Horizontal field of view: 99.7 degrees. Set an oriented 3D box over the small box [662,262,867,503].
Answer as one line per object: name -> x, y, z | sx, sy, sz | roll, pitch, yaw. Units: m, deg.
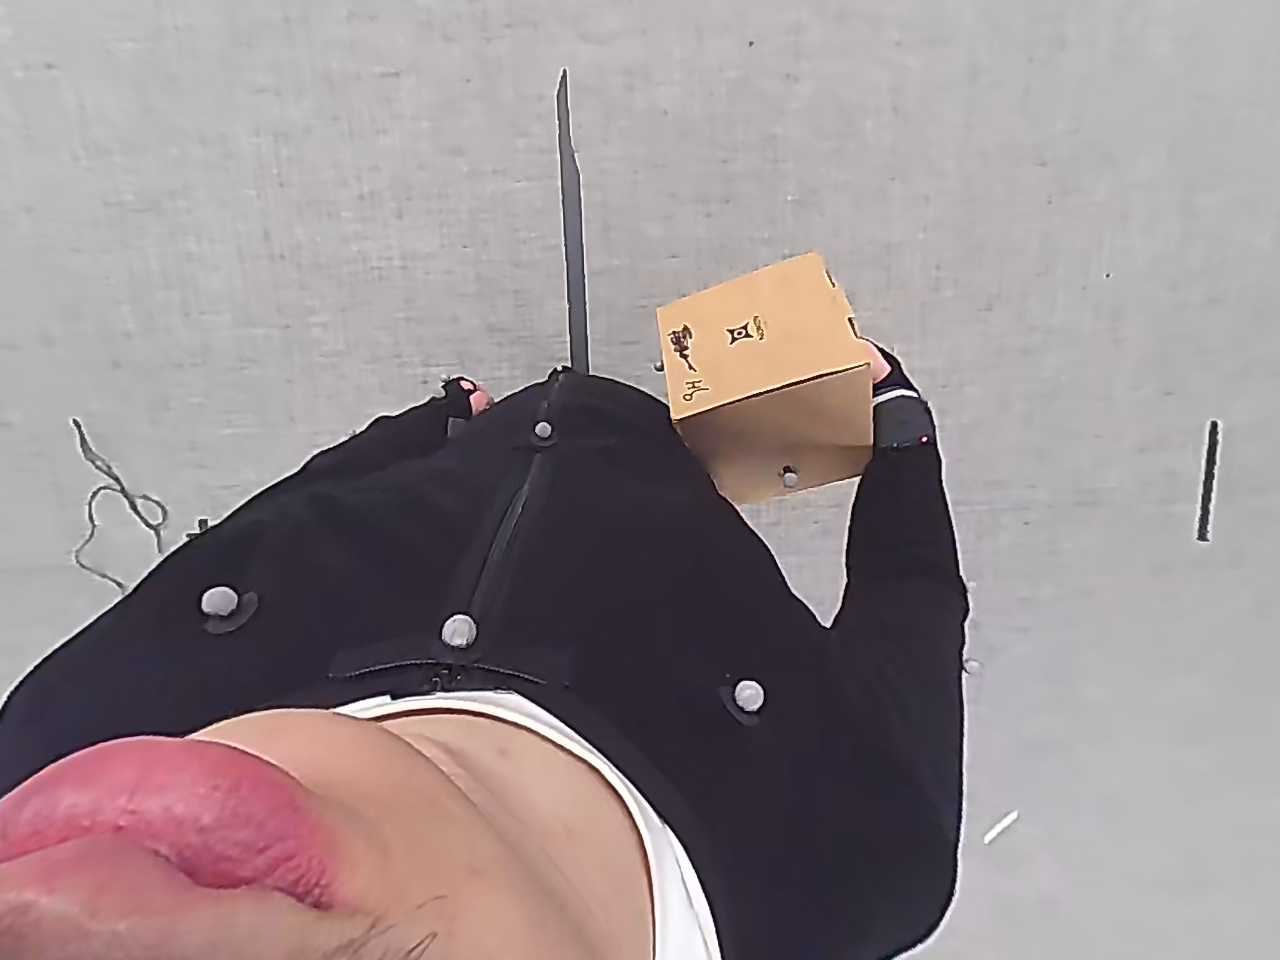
small box -> 0.136, -0.098, 0.595 | 0.179, 0.168, 0.176 | -15, 142, 13
